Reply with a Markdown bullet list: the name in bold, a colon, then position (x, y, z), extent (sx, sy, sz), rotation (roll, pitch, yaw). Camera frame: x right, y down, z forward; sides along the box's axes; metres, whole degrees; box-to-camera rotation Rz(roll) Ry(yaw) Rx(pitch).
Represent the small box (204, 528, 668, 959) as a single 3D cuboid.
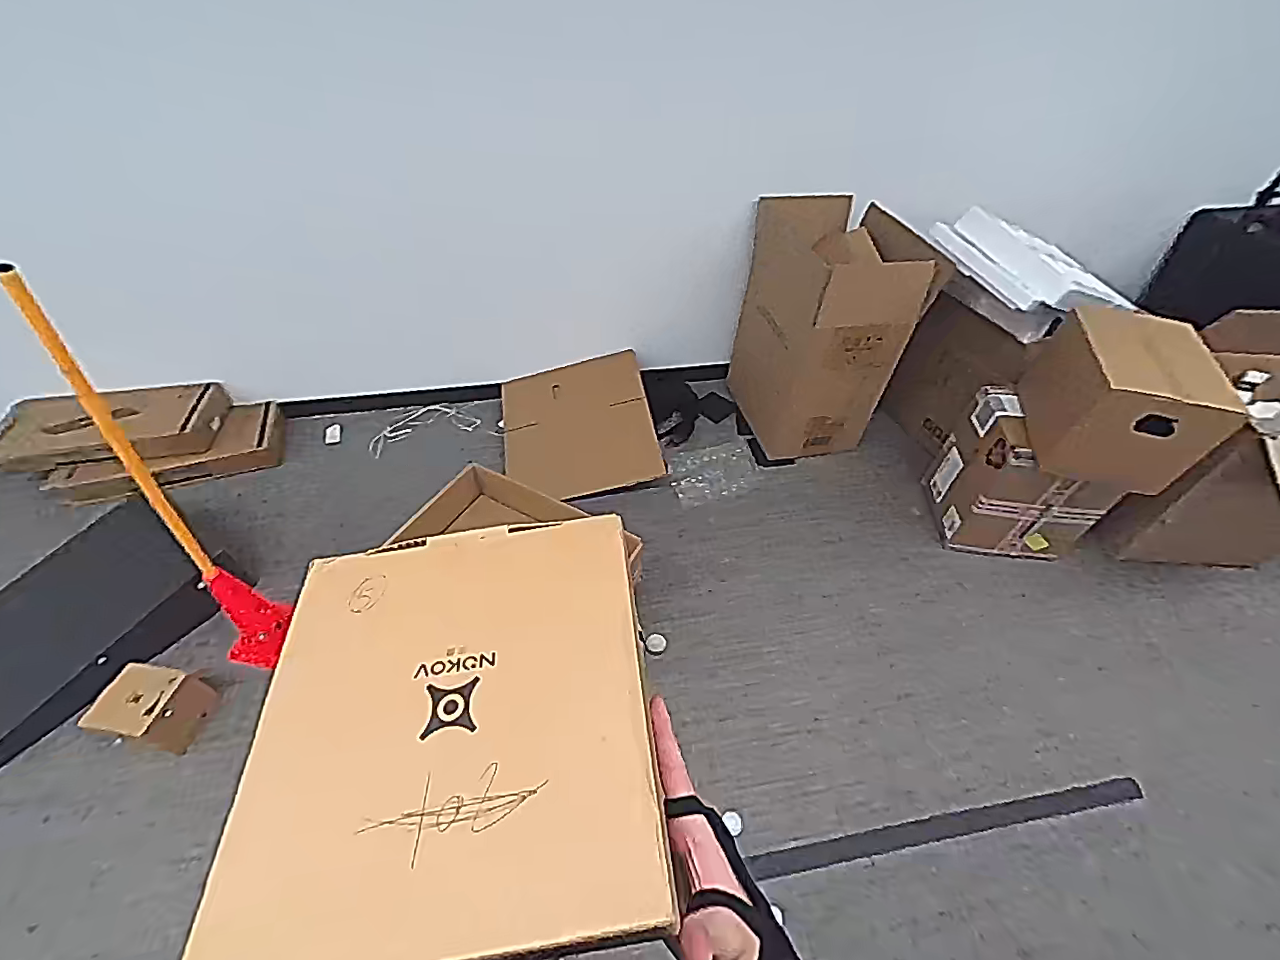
- **small box**: position (-0.077, 0.152, 0.305), extent (0.168, 0.176, 0.179), rotation (-7, 49, -1)
